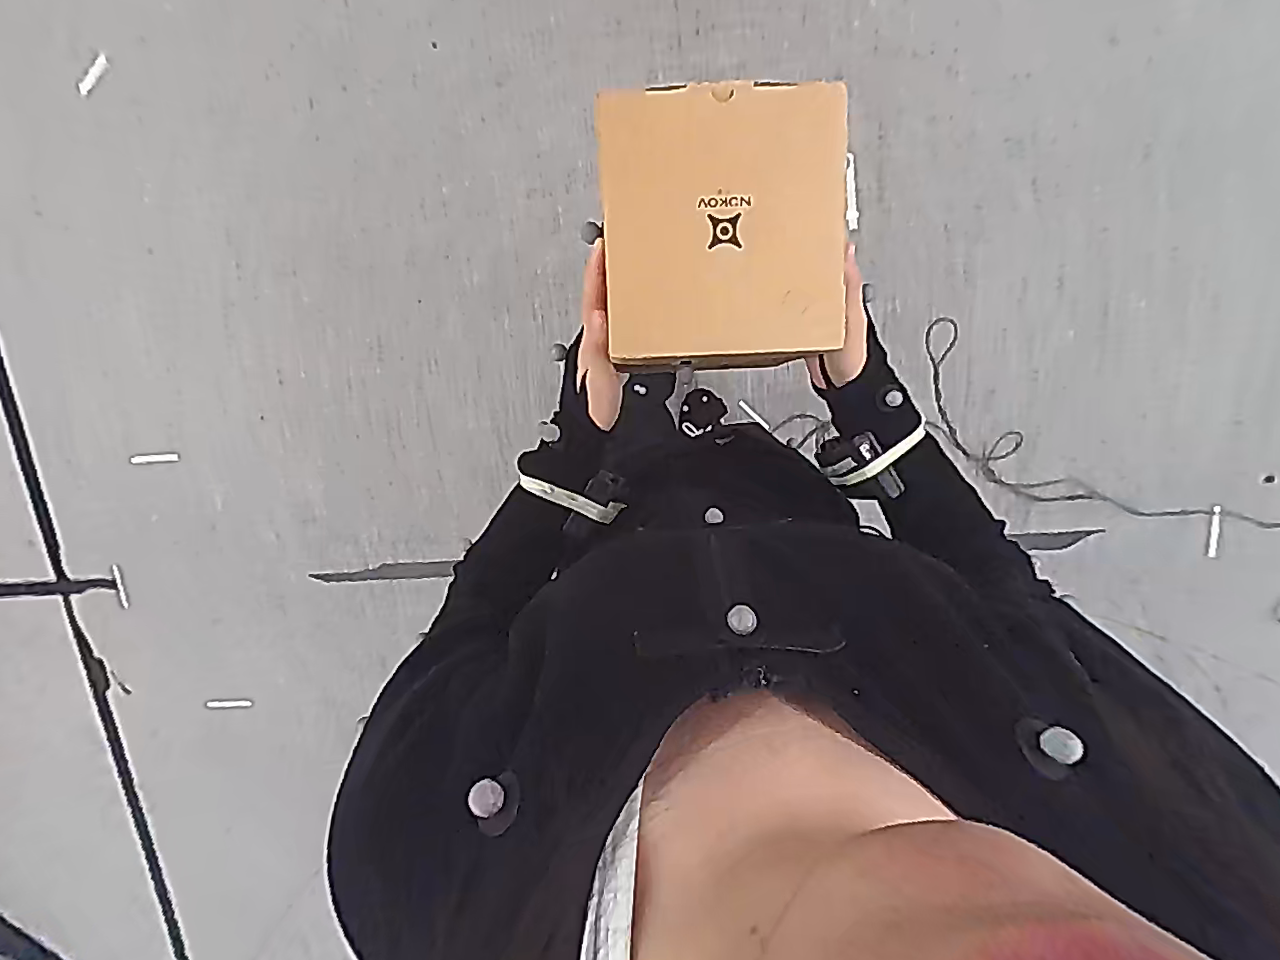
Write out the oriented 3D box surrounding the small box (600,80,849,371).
[{"bbox_3d":[0.057,-0.183,0.443,0.168,0.176,0.179,-3,96,-1],"label":"small box"}]
